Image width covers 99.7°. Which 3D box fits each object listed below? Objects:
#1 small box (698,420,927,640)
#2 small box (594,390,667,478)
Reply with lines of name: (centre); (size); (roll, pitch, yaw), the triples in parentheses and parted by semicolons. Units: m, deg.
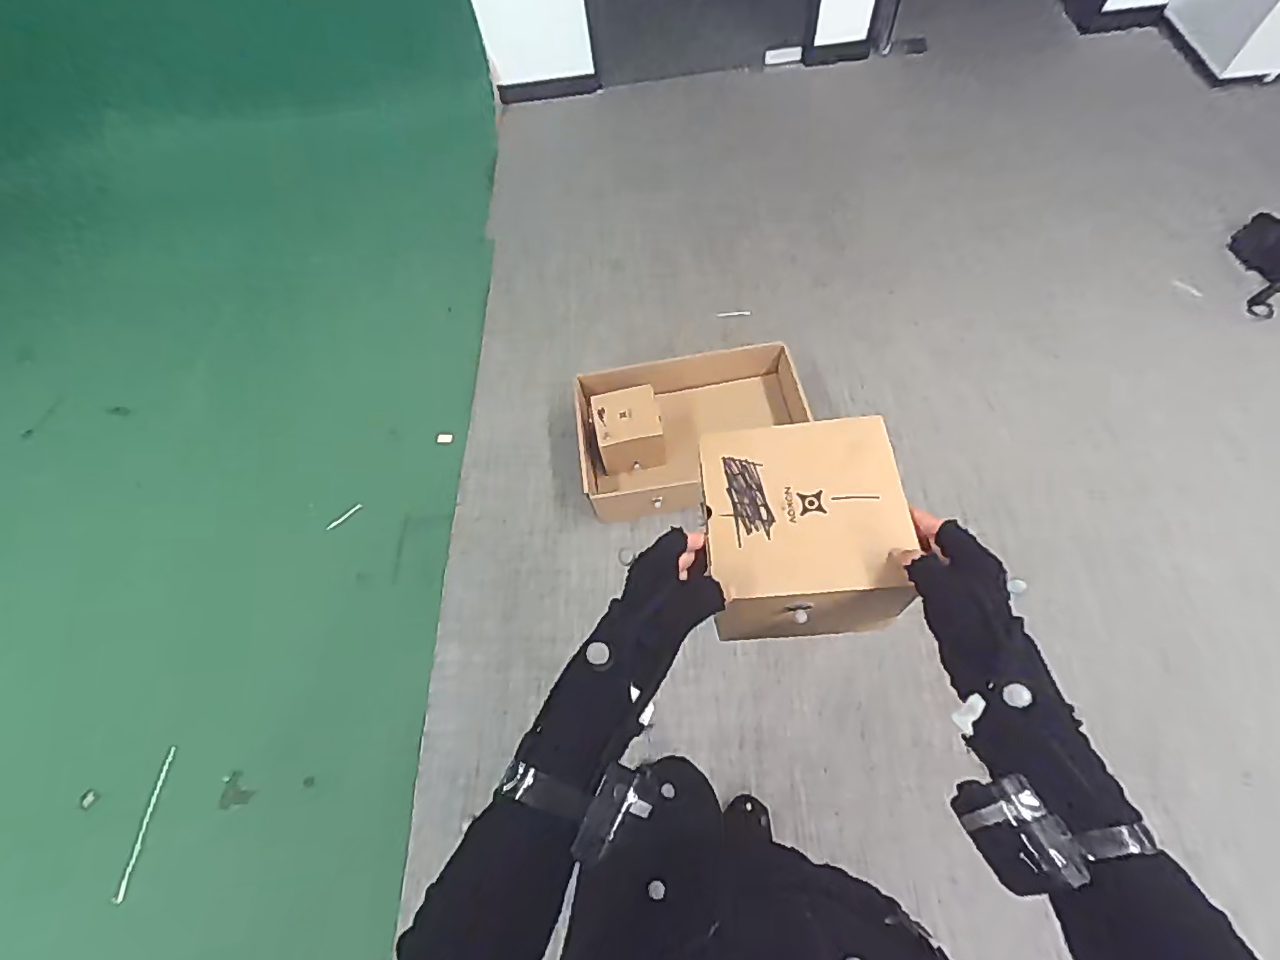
small box: (0.158, 0.061, 0.551); (0.179, 0.176, 0.168); (-6, 62, 7)
small box: (-0.023, -0.123, 1.511); (0.179, 0.176, 0.168); (-11, 62, -1)
